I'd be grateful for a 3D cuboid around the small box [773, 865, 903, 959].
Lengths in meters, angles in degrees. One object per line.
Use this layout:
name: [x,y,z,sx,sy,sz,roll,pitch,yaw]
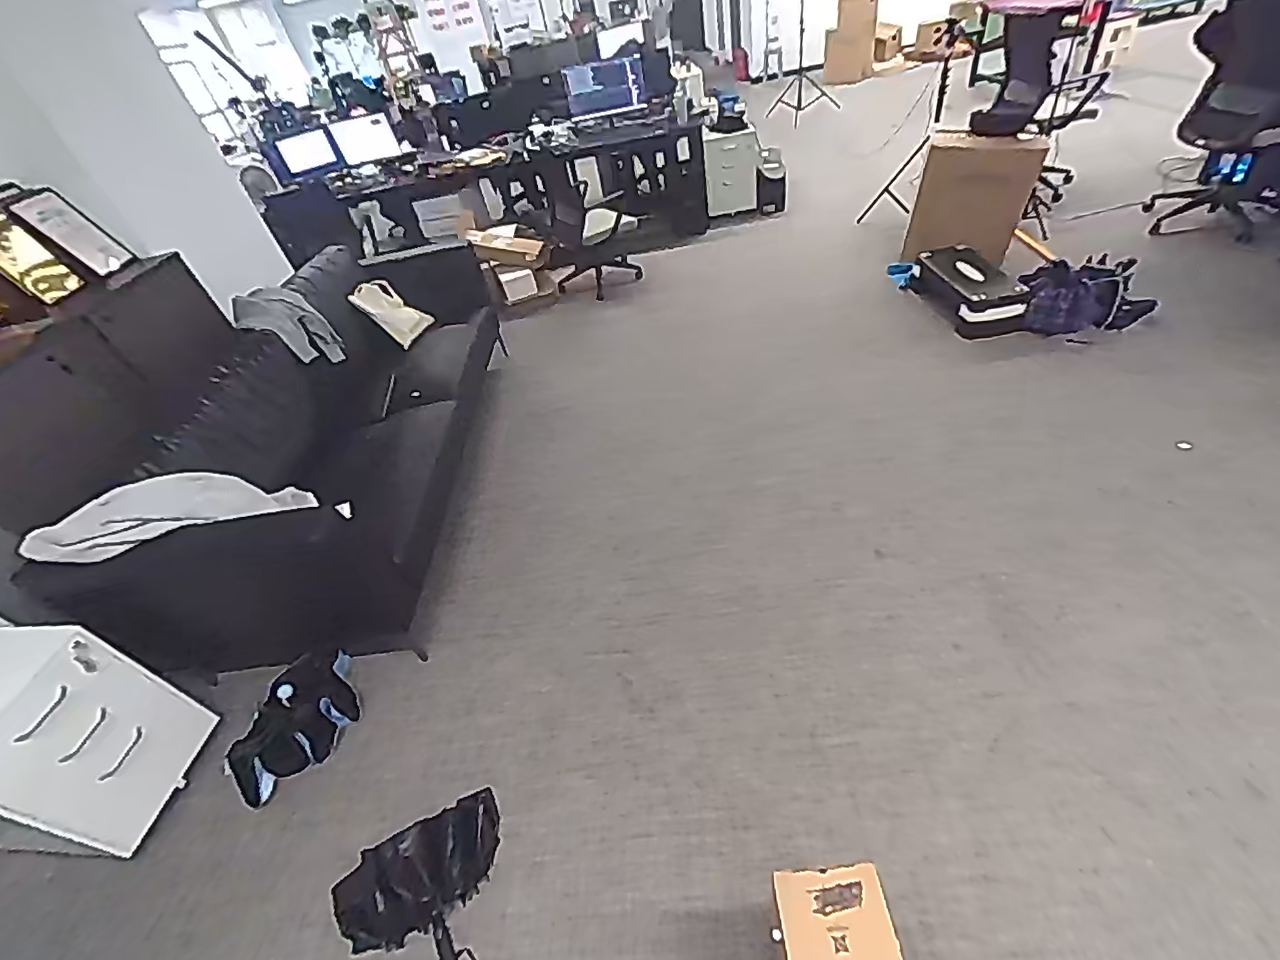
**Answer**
small box: [0.310,0.740,0.862,0.168,0.176,0.179,-9,45,5]
